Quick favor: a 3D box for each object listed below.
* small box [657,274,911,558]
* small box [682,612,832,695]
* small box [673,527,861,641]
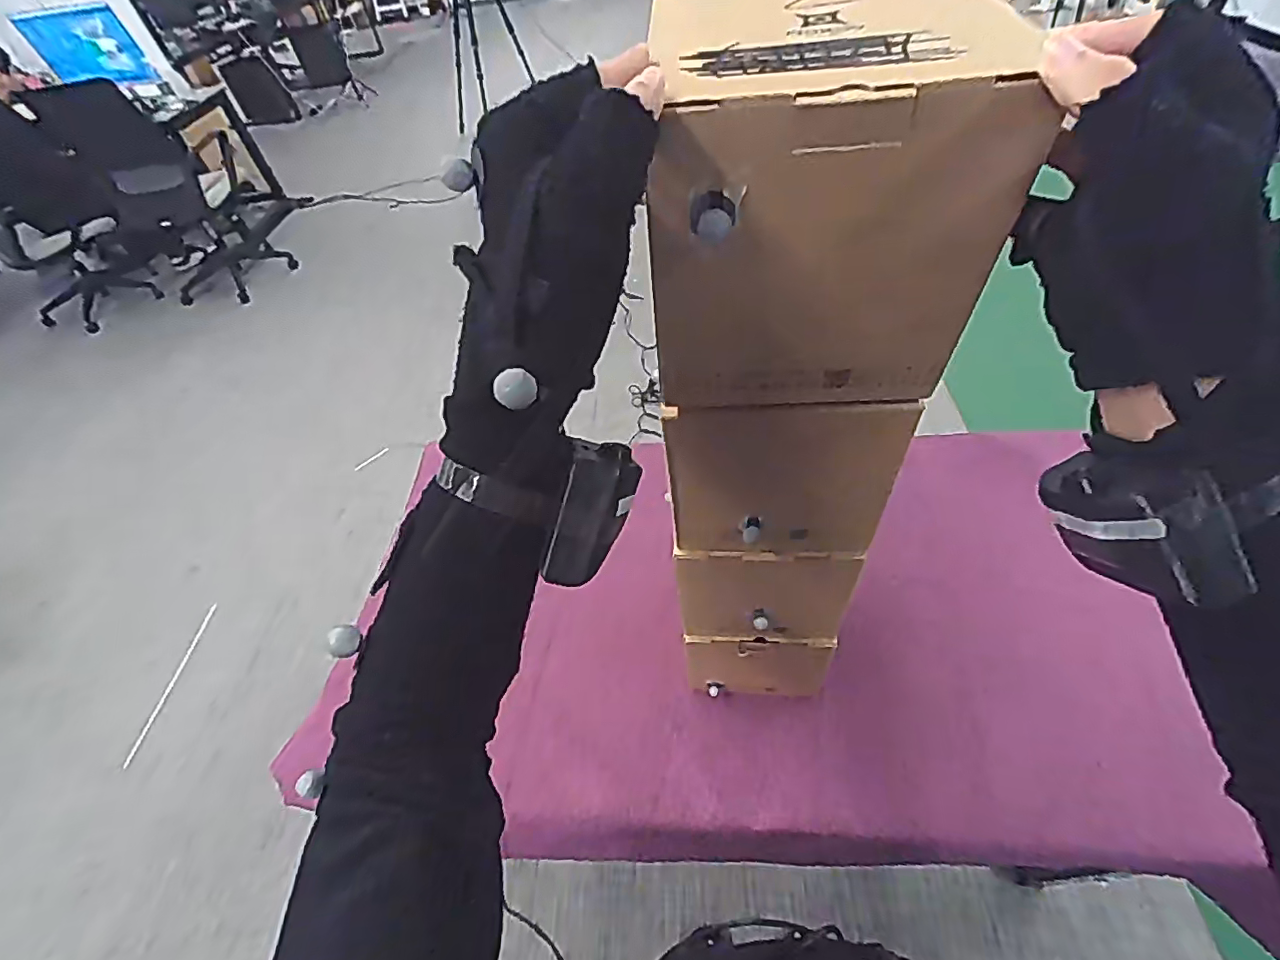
[{"bbox_3d":[0.108,-0.053,0.466,0.168,0.176,0.179,-1,50,9],"label":"small box"},{"bbox_3d":[0.146,0.166,0.706,0.168,0.176,0.179,0,50,8],"label":"small box"},{"bbox_3d":[0.126,0.055,0.587,0.168,0.176,0.179,-1,50,9],"label":"small box"}]
